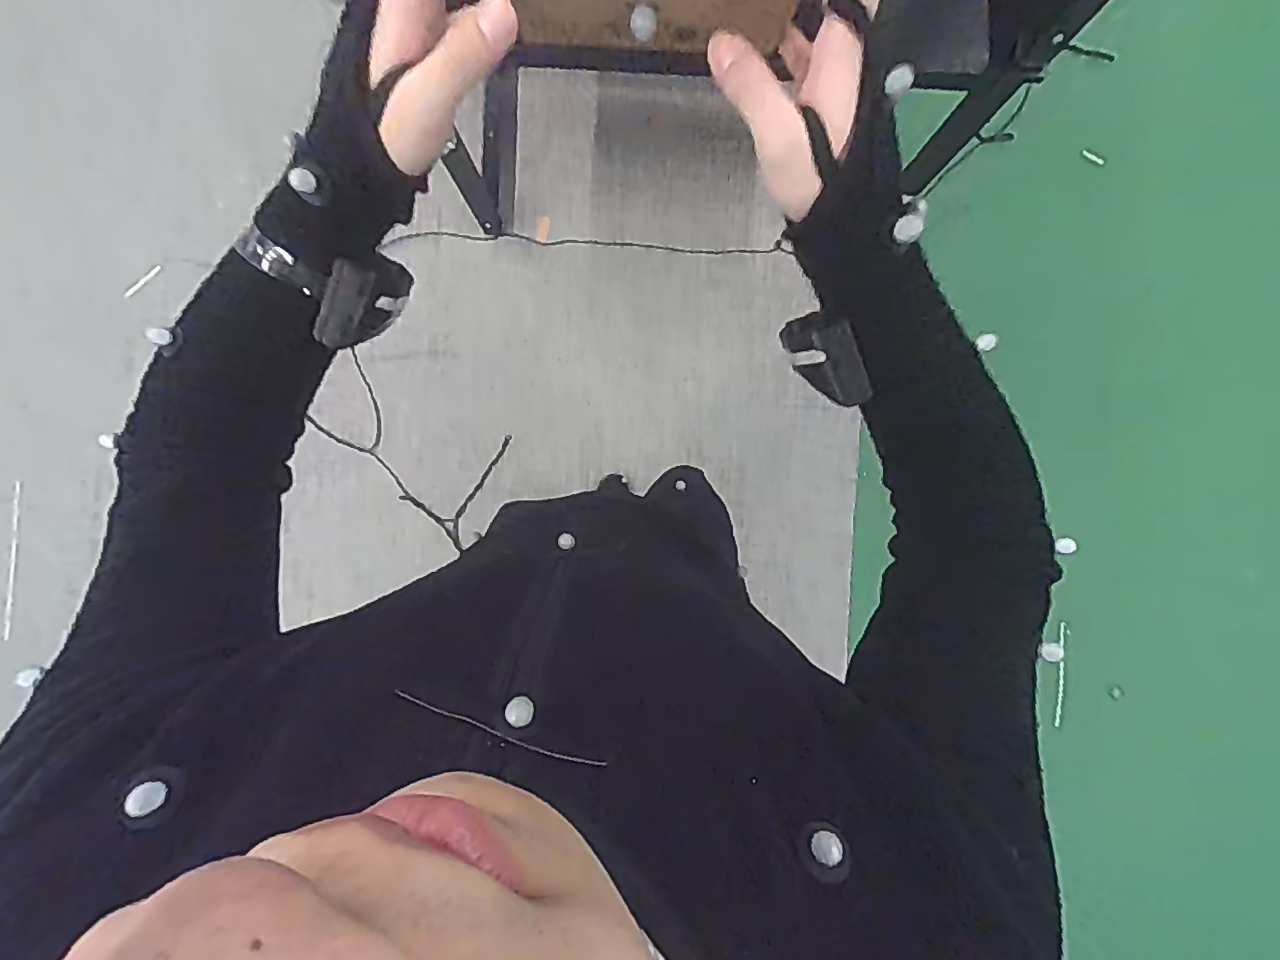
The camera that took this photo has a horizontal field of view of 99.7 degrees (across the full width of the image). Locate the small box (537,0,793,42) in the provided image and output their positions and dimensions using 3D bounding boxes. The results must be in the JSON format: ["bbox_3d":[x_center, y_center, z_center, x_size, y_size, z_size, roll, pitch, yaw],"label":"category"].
[{"bbox_3d":[0.016,-0.359,0.259,0.168,0.176,0.179,0,105,-2],"label":"small box"}]
